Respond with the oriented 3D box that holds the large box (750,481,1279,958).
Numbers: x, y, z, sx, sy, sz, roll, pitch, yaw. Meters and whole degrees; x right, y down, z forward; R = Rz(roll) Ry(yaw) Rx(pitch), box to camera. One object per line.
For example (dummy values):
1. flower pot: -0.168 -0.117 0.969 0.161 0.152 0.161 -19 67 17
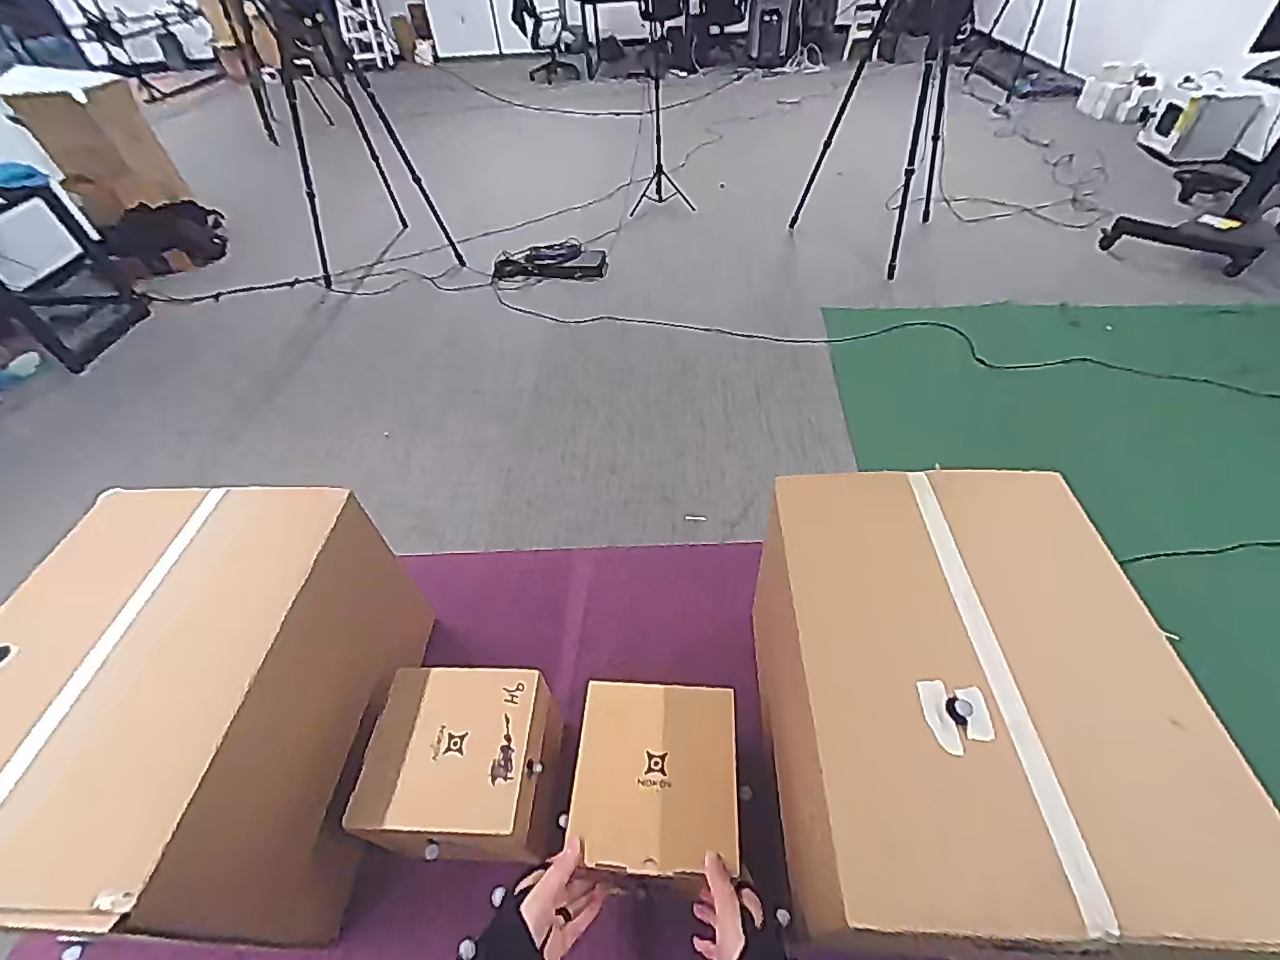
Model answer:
1. large box: 0.311 0.250 0.597 0.320 0.320 0.408 0 48 4
